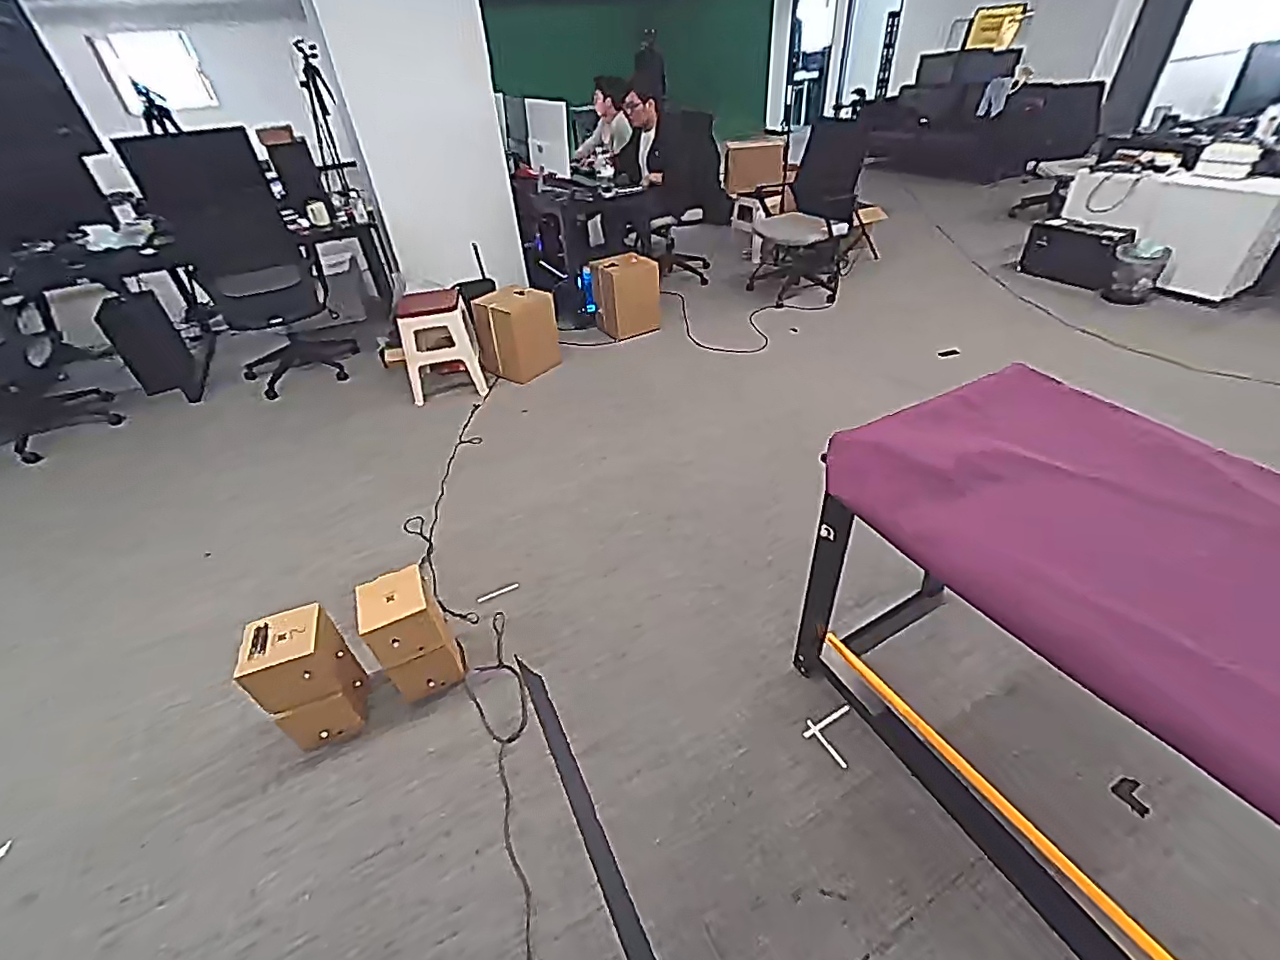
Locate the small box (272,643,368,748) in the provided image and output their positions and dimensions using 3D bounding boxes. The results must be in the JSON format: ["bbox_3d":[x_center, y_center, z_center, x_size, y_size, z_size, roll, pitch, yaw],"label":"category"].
[{"bbox_3d":[-0.853,0.581,1.459,0.168,0.176,0.179,-16,41,-13],"label":"small box"}]

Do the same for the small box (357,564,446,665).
[{"bbox_3d":[-0.635,0.365,1.445,0.168,0.176,0.179,-21,40,-17],"label":"small box"}]

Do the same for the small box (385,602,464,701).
[{"bbox_3d":[-0.619,0.491,1.547,0.168,0.176,0.179,-21,41,-17],"label":"small box"}]
